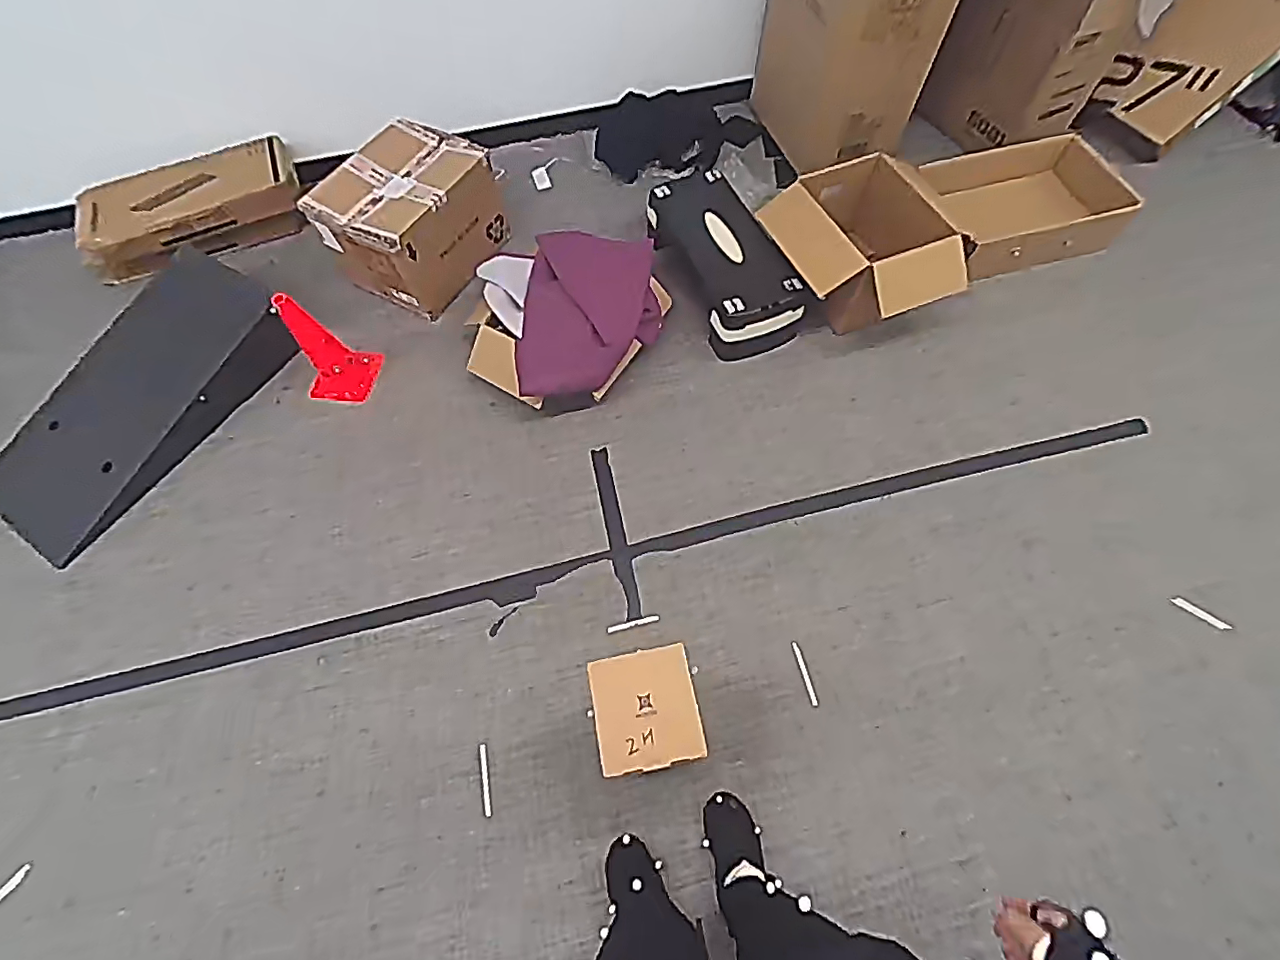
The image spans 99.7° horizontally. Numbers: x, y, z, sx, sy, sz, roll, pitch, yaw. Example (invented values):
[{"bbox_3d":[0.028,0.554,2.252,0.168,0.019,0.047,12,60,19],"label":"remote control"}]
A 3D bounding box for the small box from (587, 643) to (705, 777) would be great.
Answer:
[{"bbox_3d":[0.009,0.396,0.929,0.168,0.176,0.179,-11,64,-2],"label":"small box"}]
